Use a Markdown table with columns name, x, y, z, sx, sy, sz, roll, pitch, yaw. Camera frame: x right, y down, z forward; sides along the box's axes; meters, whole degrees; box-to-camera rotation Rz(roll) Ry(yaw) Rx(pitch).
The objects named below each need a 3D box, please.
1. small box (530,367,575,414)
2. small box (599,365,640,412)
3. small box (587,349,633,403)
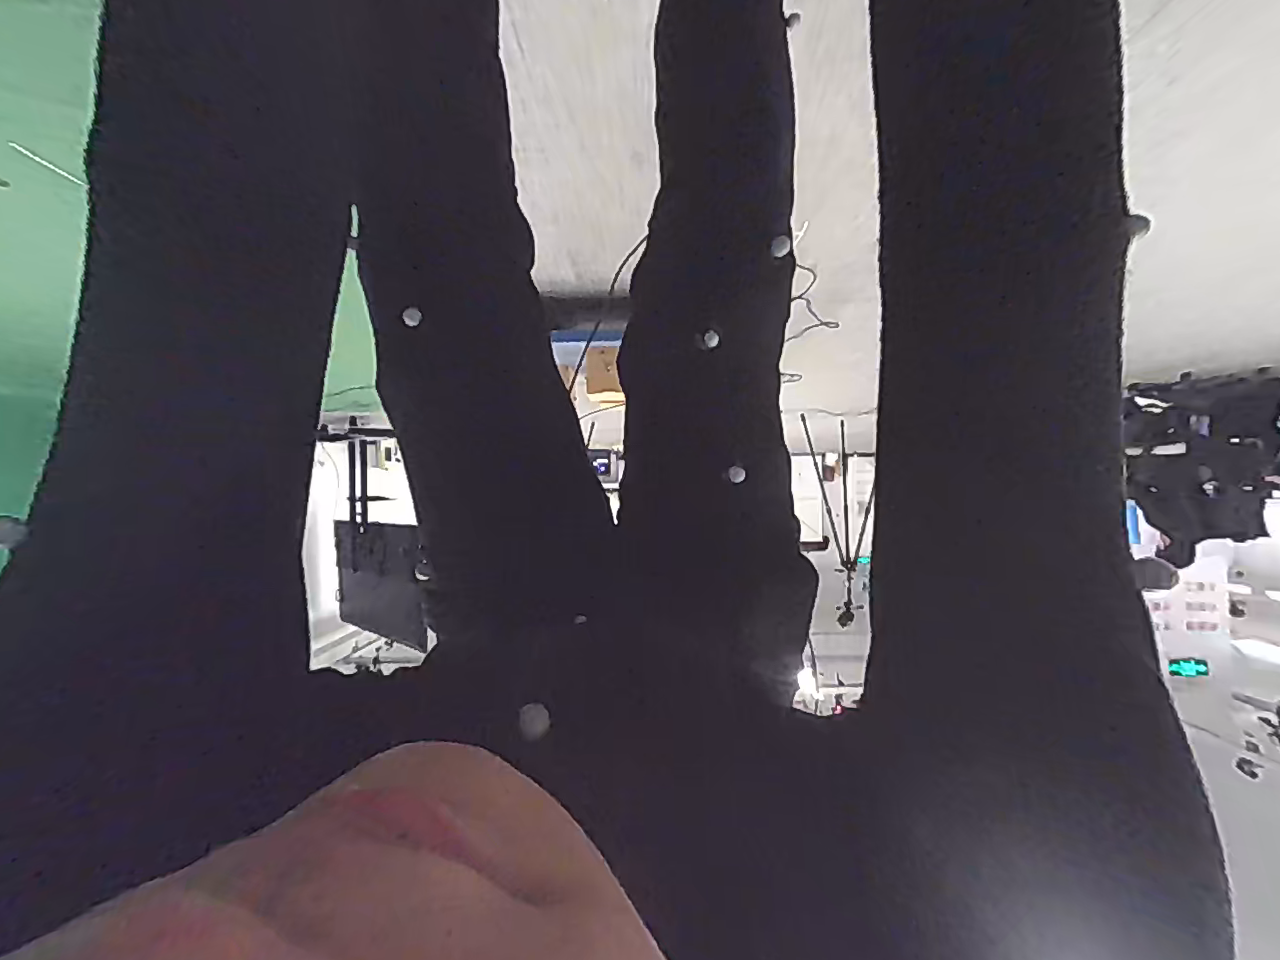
| name | x | y | z | sx | sy | sz | roll | pitch | yaw |
| --- | --- | --- | --- | --- | --- | --- | --- | --- | --- |
| small box | -0.364 | -0.372 | 2.268 | 0.168 | 0.176 | 0.179 | -2 | 178 | 1 |
| small box | -0.084 | -0.380 | 2.260 | 0.168 | 0.176 | 0.179 | -1 | 177 | 0 |
| small box | -0.109 | -0.382 | 1.997 | 0.168 | 0.176 | 0.179 | -1 | 179 | 0 |
